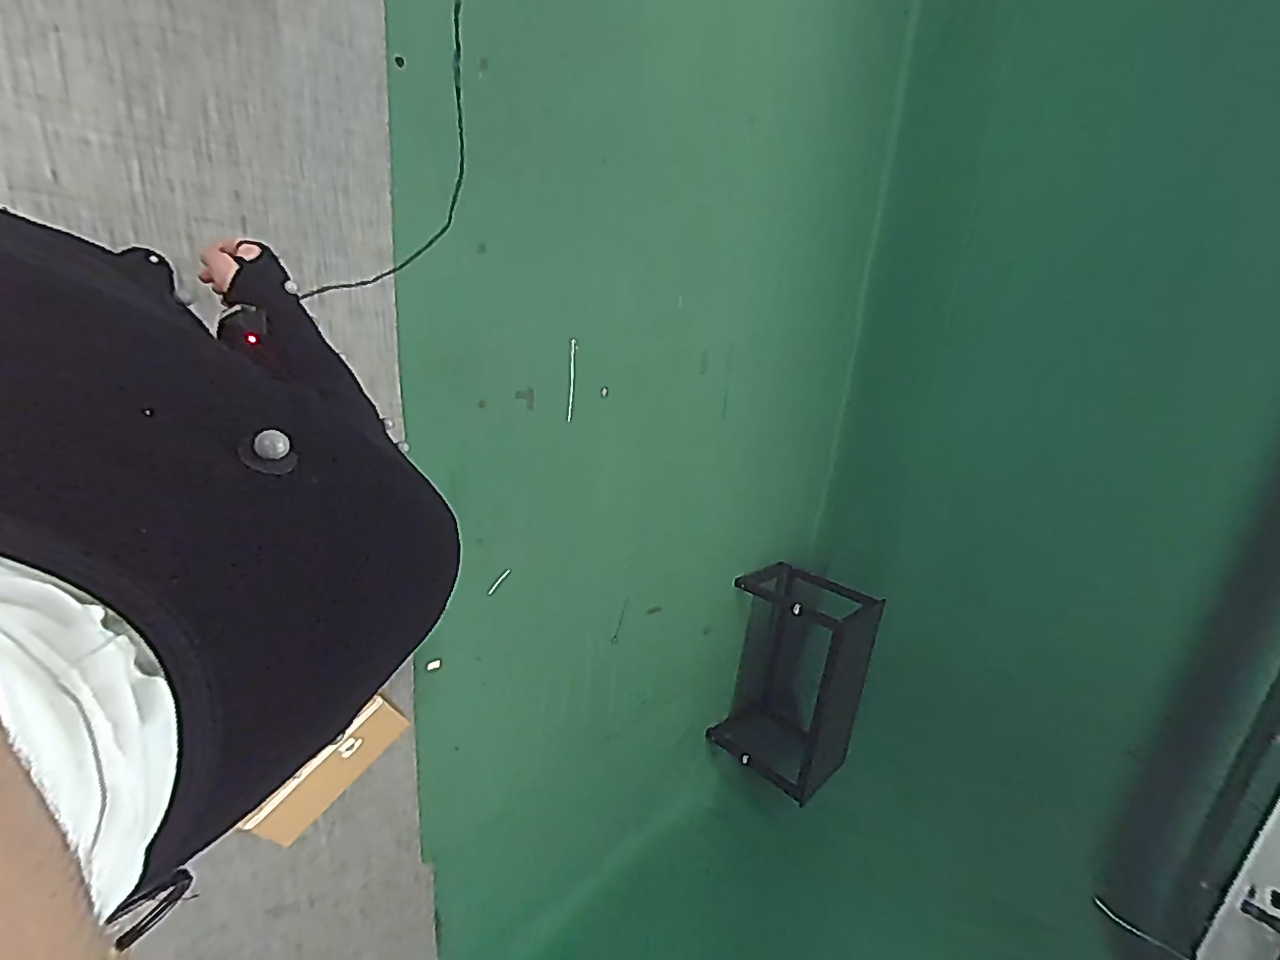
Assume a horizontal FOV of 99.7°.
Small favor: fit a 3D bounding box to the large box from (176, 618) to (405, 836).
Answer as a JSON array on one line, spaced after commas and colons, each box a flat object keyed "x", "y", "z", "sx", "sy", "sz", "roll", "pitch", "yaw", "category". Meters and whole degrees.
[{"x": -0.978, "y": 0.682, "z": 1.533, "sx": 0.408, "sy": 0.320, "sz": 0.320, "roll": -46, "pitch": 135, "yaw": -27, "category": "large box"}]
